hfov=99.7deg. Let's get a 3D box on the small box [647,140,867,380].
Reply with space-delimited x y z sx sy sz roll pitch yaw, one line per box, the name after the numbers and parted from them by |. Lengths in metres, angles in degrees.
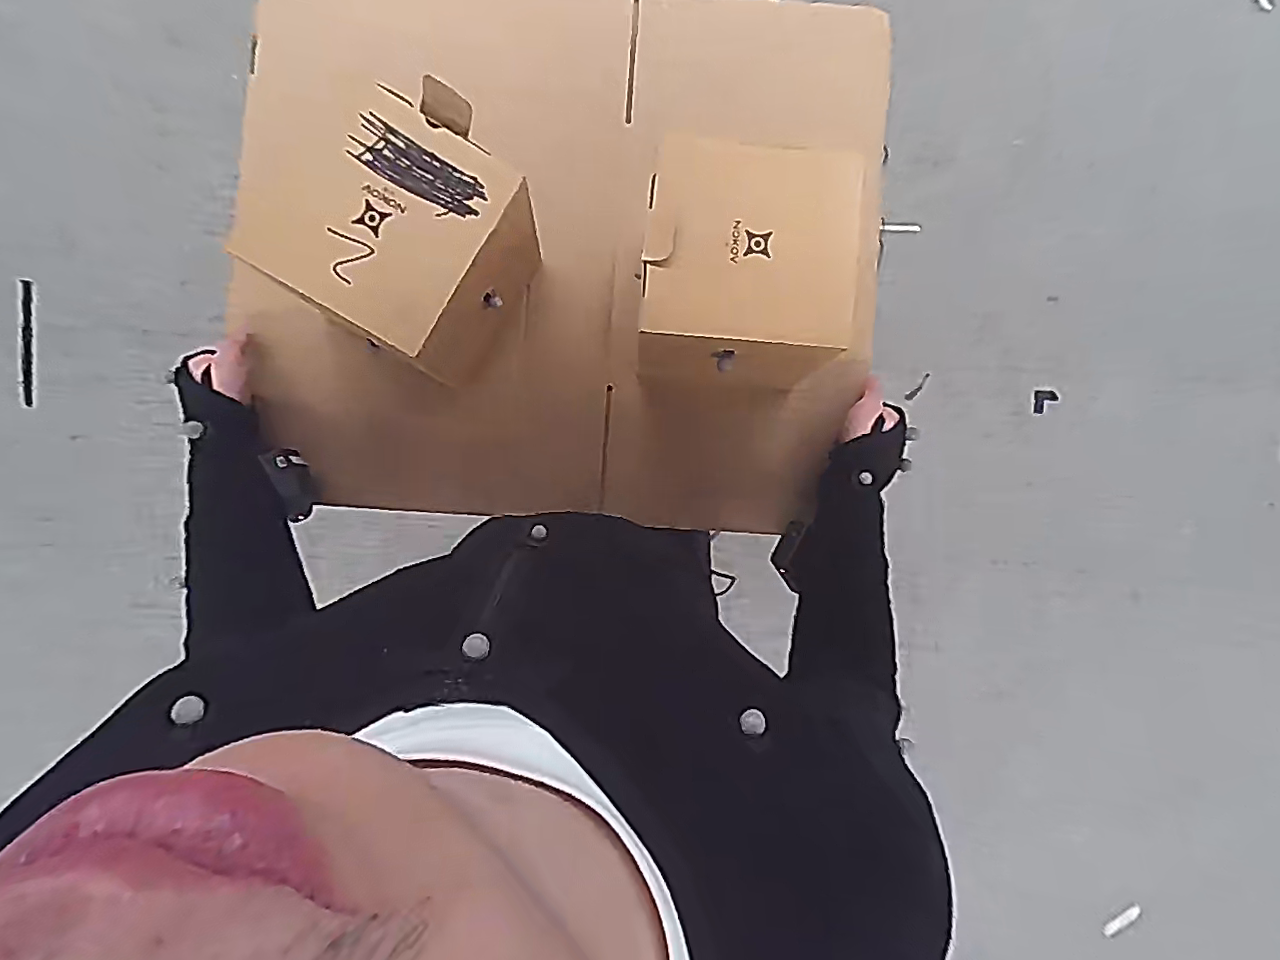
0.101 -0.200 0.539 0.179 0.176 0.168 5 89 1 | small box
